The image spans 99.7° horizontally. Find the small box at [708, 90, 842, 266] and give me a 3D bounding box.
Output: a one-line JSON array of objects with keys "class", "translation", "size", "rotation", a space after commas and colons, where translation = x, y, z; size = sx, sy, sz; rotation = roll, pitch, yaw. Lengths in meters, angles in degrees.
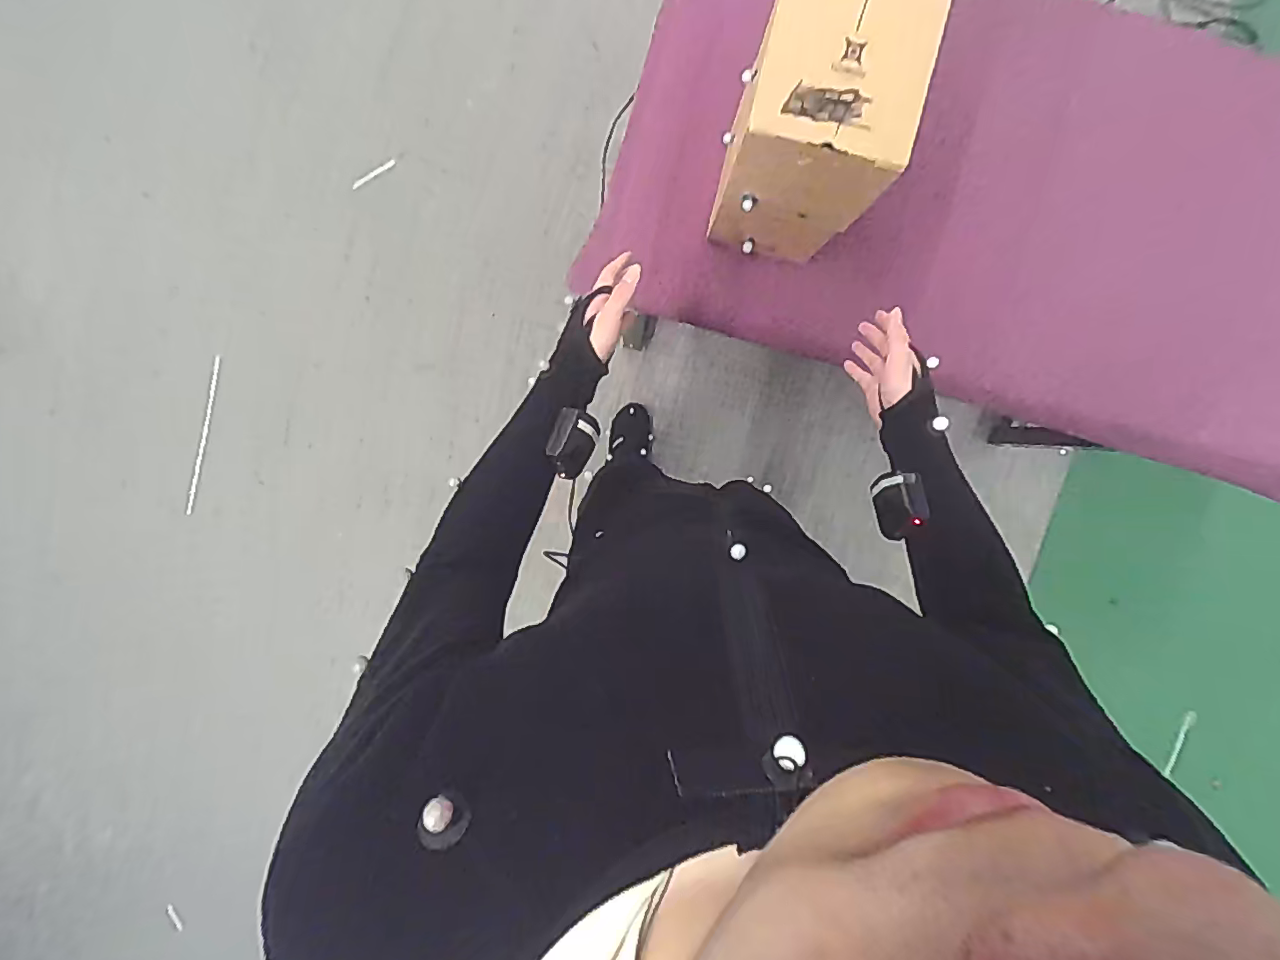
[{"class": "small box", "translation": [0.202, -0.434, 0.771], "size": [0.168, 0.176, 0.179], "rotation": [14, 95, -2]}]

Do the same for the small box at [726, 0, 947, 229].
[{"class": "small box", "translation": [0.201, -0.412, 0.609], "size": [0.168, 0.176, 0.179], "rotation": [14, 93, -1]}]

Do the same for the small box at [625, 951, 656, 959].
[{"class": "small box", "translation": [0.009, 1.584, 1.617], "size": [0.168, 0.176, 0.179], "rotation": [20, 96, -2]}]
